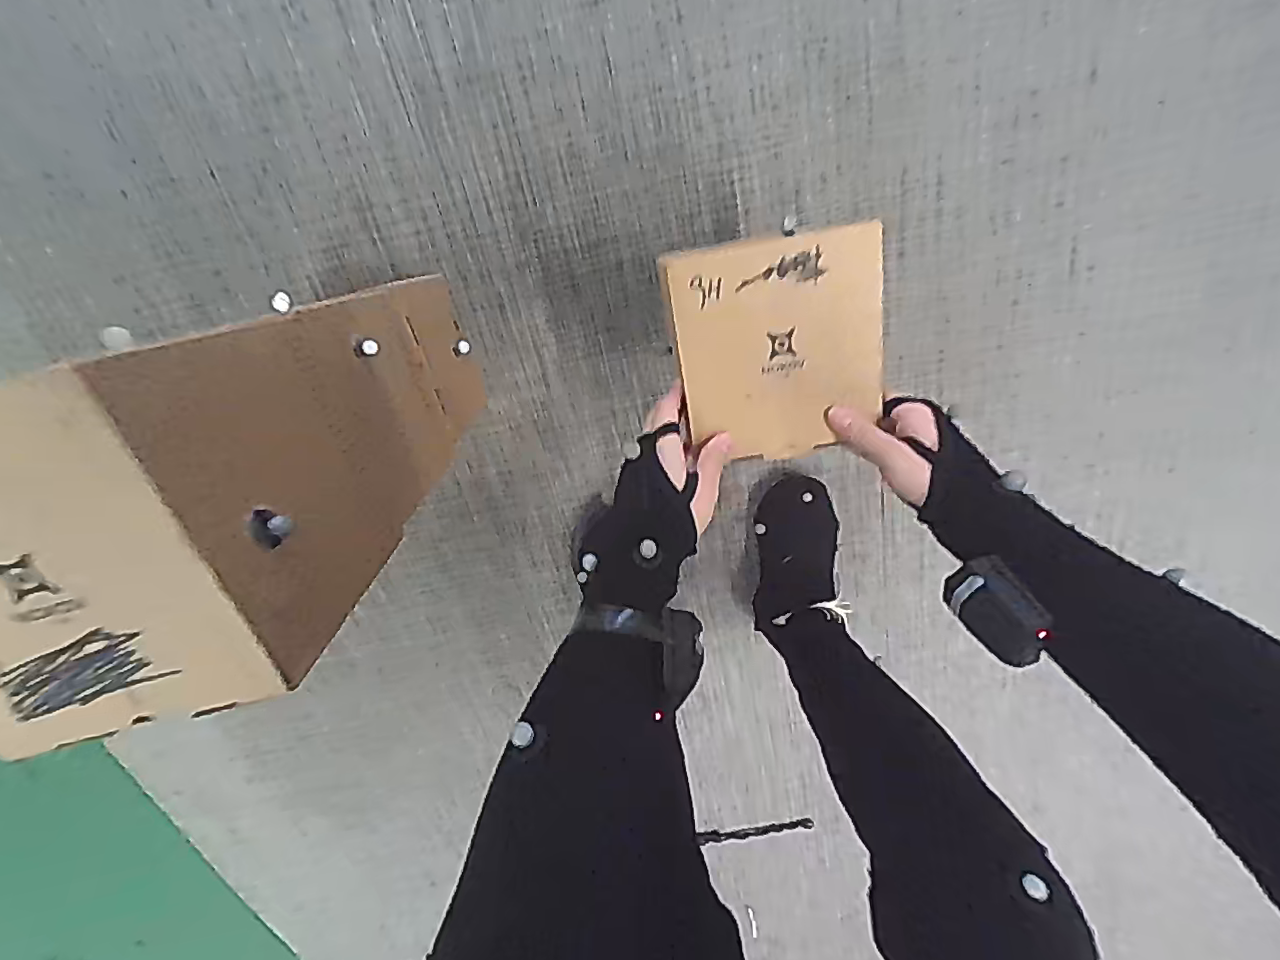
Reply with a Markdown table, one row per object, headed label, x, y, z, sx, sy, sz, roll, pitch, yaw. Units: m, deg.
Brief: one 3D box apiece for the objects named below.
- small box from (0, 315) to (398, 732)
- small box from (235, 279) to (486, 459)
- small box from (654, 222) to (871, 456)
| label | x | y | z | sx | sy | sz | roll | pitch | yaw |
| --- | --- | --- | --- | --- | --- | --- | --- | --- | --- |
| small box | -0.280 | 0.012 | 0.331 | 0.168 | 0.176 | 0.179 | -14 | 112 | 2 |
| small box | -0.301 | -0.128 | 0.628 | 0.179 | 0.176 | 0.168 | -13 | 113 | 1 |
| small box | 0.109 | -0.144 | 0.528 | 0.168 | 0.176 | 0.179 | -10 | 114 | 2 |
